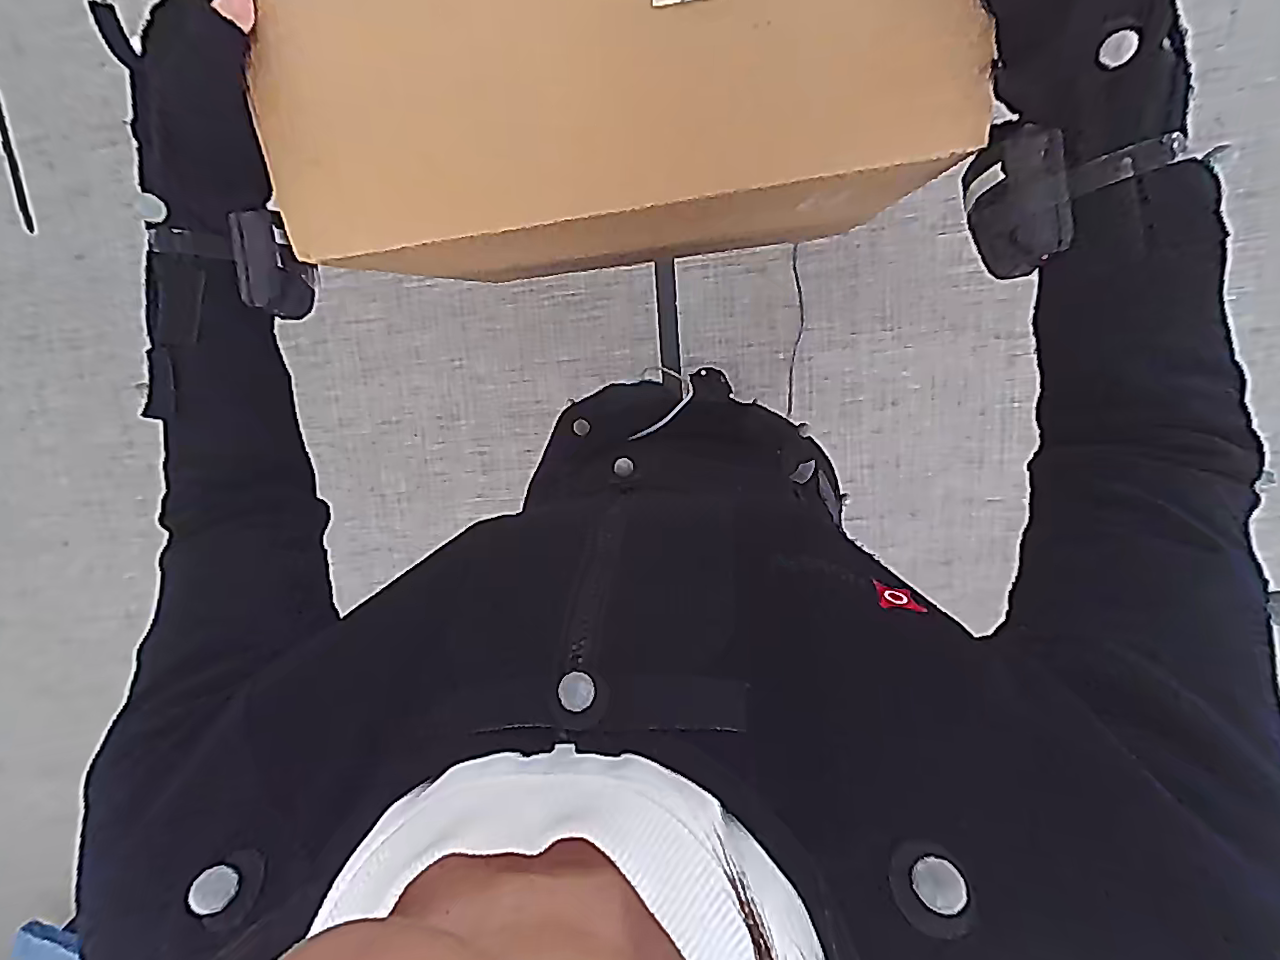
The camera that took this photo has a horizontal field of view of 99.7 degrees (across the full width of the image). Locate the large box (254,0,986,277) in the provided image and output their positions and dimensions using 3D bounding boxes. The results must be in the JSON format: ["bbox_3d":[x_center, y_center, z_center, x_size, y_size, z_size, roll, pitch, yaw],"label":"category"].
[{"bbox_3d":[-0.015,-0.359,0.421,0.408,0.320,0.320,-5,107,9],"label":"large box"}]
